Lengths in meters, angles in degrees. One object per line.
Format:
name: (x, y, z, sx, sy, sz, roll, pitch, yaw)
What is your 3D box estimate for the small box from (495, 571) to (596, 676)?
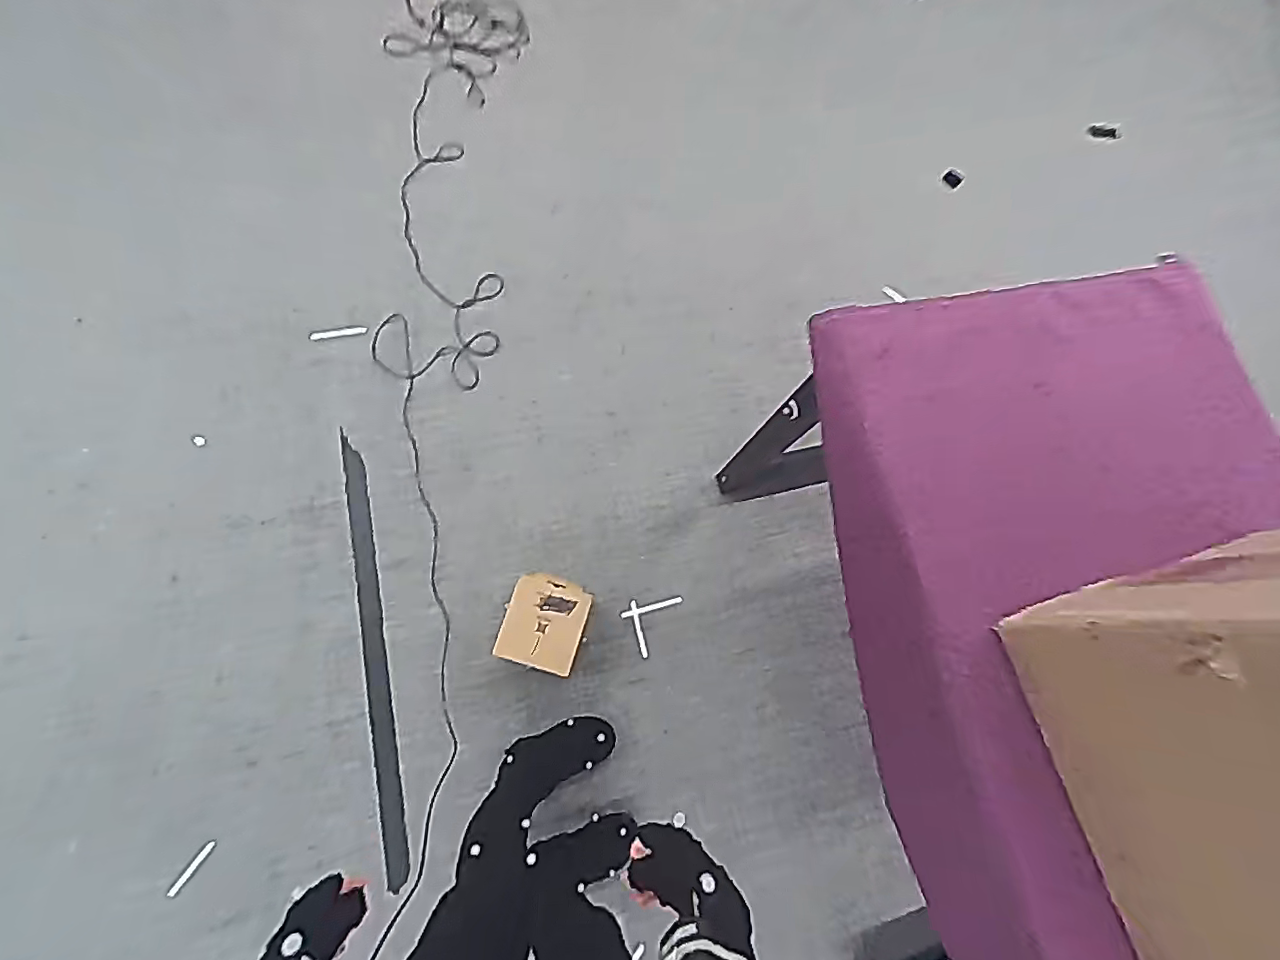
small box: (-0.206, 0.317, 1.203, 0.168, 0.176, 0.179, 18, 74, -1)
